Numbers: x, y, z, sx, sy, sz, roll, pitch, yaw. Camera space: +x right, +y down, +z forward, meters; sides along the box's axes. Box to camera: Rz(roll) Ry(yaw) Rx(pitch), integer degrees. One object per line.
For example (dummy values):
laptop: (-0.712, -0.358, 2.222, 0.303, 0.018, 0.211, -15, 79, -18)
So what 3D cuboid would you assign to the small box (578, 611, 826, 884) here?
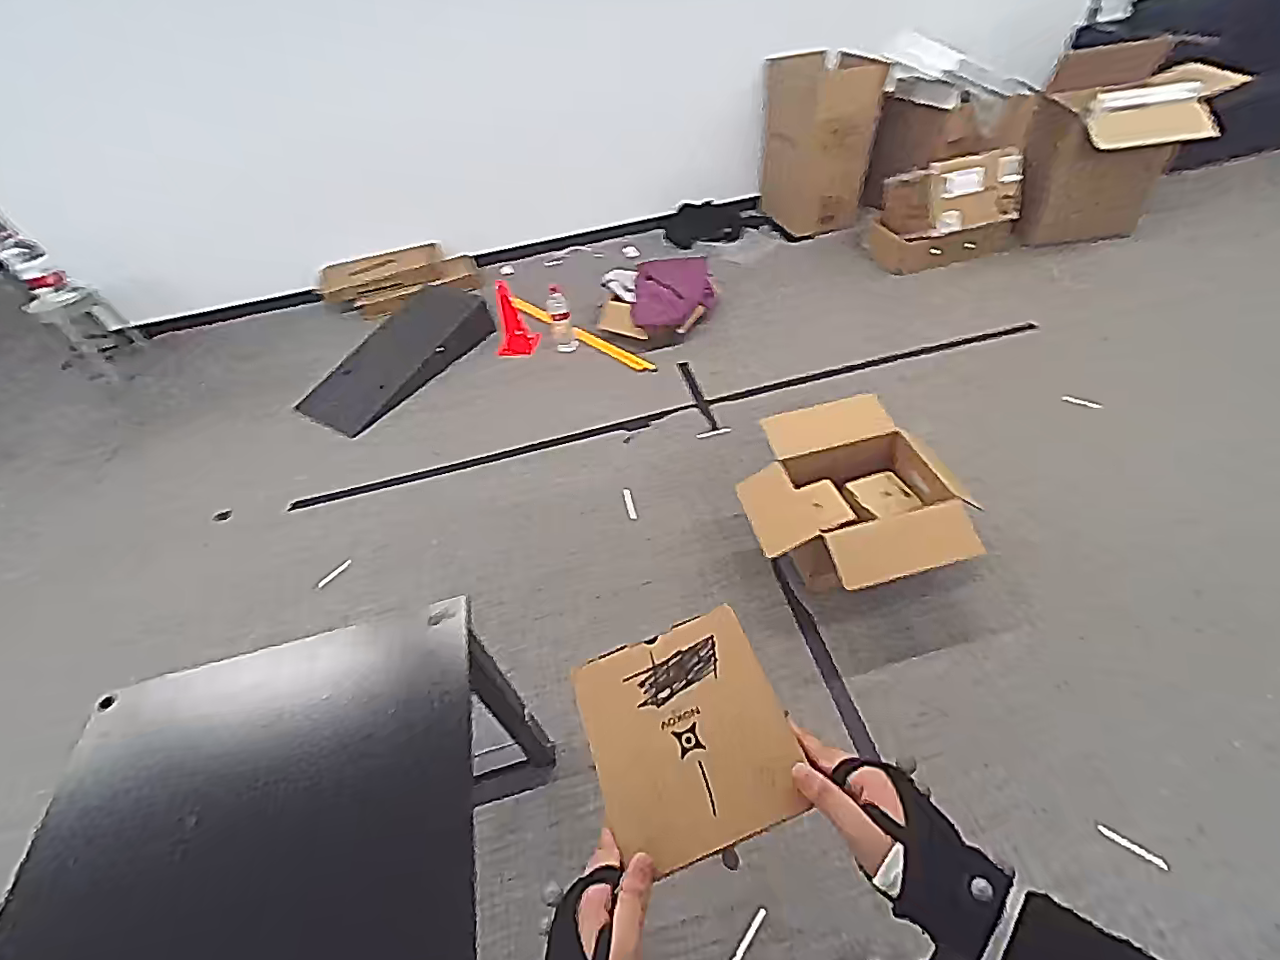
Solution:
small box: (0.054, 0.260, 0.529, 0.168, 0.176, 0.179, -21, 56, -4)
